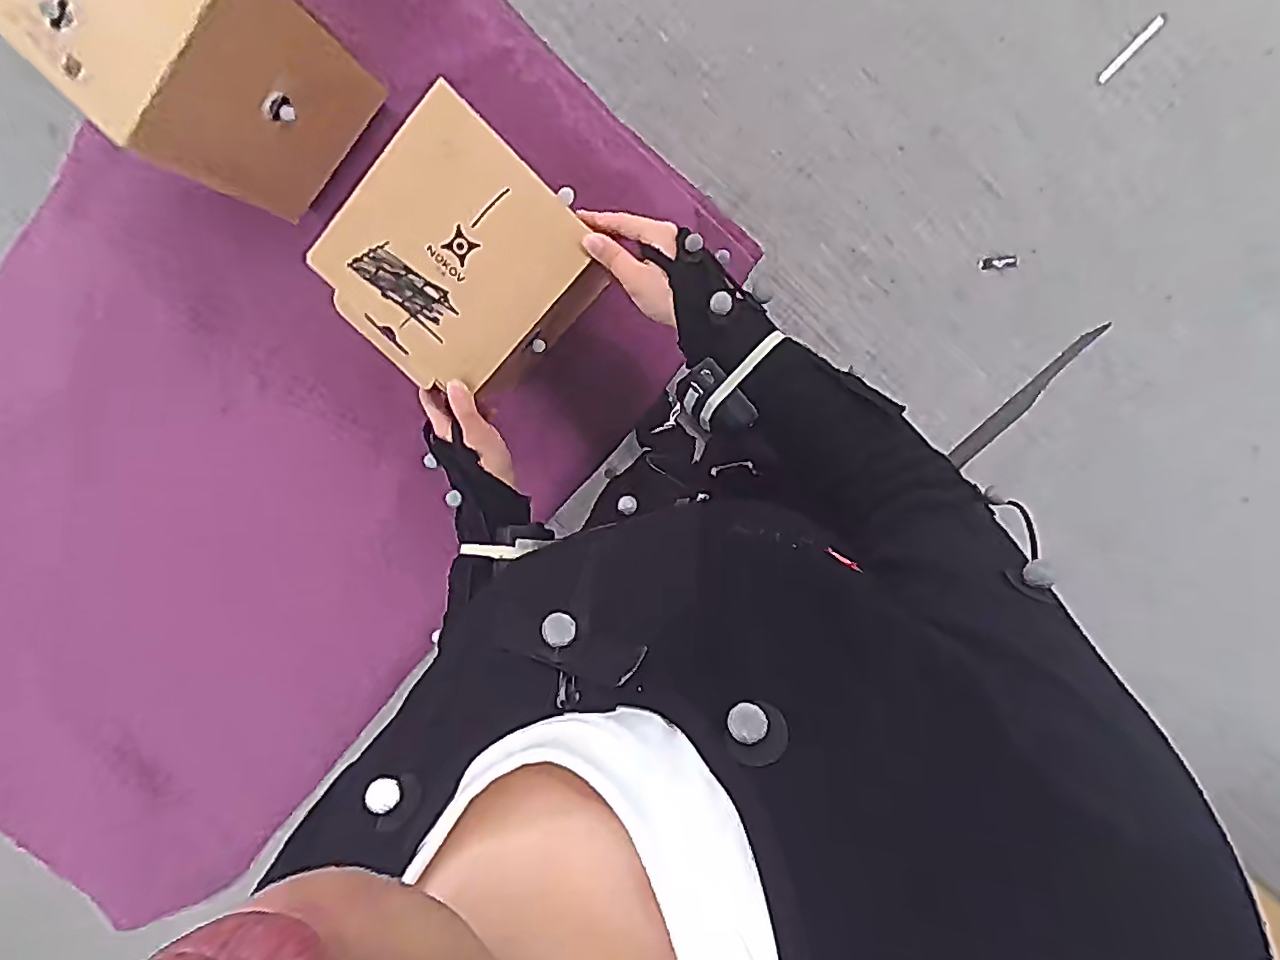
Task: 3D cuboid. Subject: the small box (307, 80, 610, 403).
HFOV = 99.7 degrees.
[{"bbox_3d":[-0.142,-0.195,0.494,0.168,0.176,0.179,44,101,-9],"label":"small box"}]
